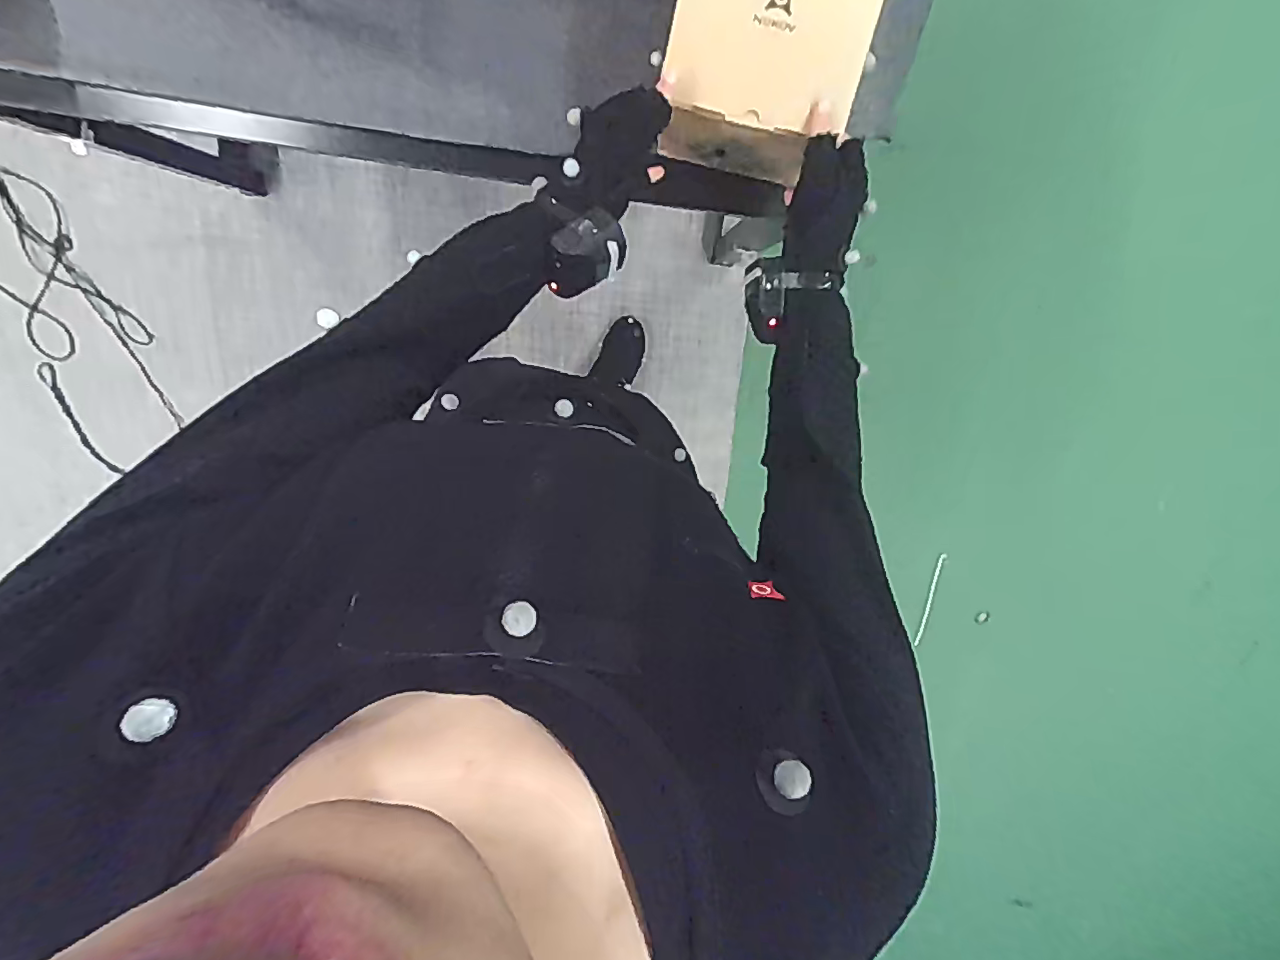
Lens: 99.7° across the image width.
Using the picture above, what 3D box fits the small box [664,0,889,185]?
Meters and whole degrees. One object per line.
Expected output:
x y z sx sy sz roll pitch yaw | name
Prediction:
0.119 -0.411 0.520 0.168 0.176 0.179 13 109 -3 | small box
